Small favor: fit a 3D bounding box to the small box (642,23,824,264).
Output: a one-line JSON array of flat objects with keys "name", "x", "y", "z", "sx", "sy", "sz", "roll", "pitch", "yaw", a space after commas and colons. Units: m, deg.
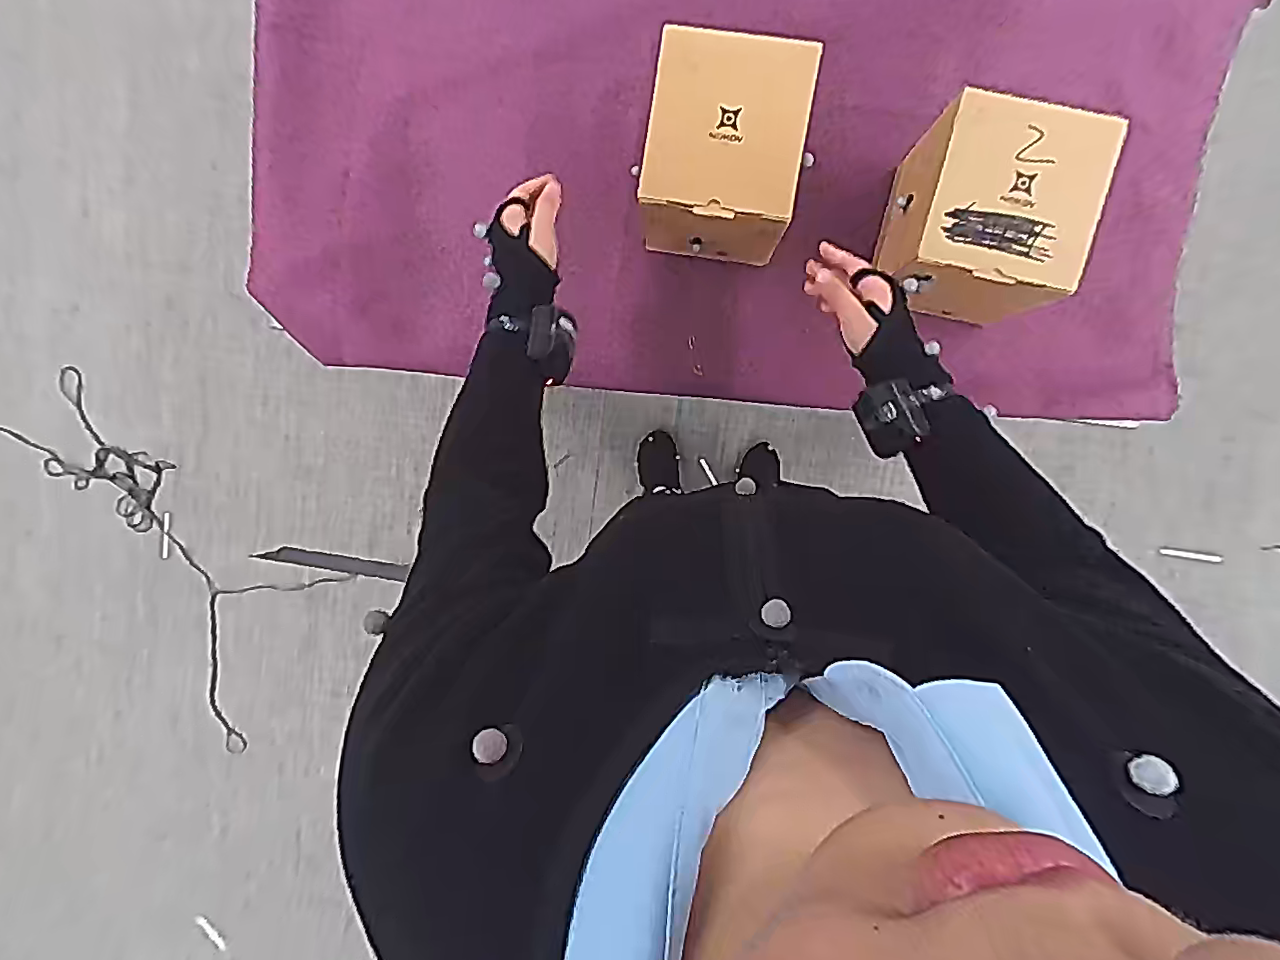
[{"name": "small box", "x": 0.099, "y": -0.378, "z": 0.639, "sx": 0.168, "sy": 0.176, "sz": 0.179, "roll": 9, "pitch": 97, "yaw": 3}]
